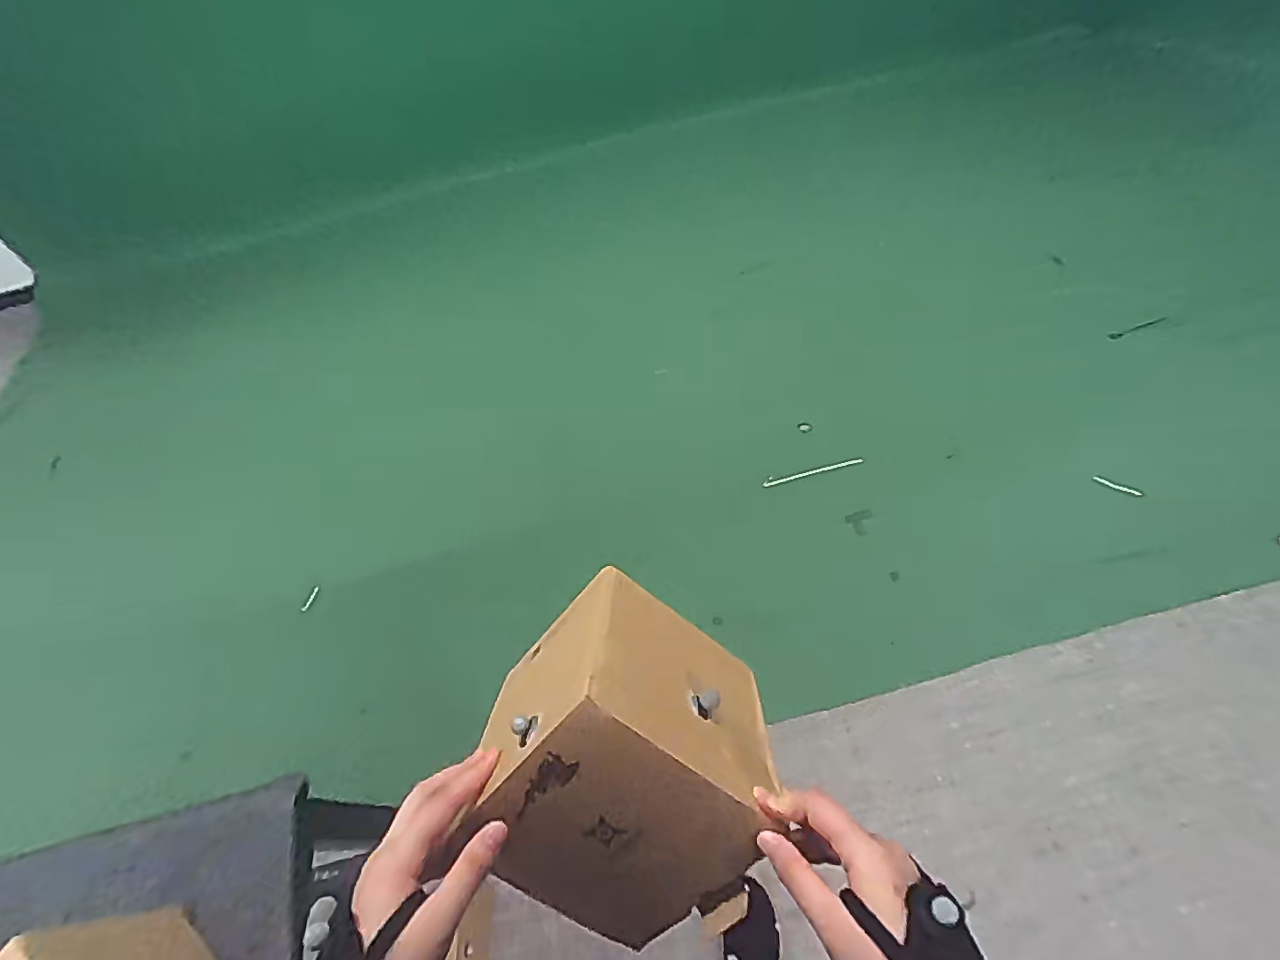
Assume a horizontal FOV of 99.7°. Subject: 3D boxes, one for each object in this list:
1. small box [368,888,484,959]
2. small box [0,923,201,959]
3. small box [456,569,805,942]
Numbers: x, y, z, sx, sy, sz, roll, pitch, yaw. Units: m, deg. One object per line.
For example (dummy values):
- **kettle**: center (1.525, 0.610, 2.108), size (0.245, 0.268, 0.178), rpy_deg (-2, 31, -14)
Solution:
- **small box**: center (-0.420, 0.935, 1.077), size (0.168, 0.176, 0.179), rpy_deg (-10, 54, 1)
- **small box**: center (-0.508, 0.534, 0.471), size (0.179, 0.176, 0.168), rpy_deg (25, 66, 24)
- **small box**: center (-0.005, 0.204, 0.432), size (0.168, 0.179, 0.176), rpy_deg (-48, 12, 16)
